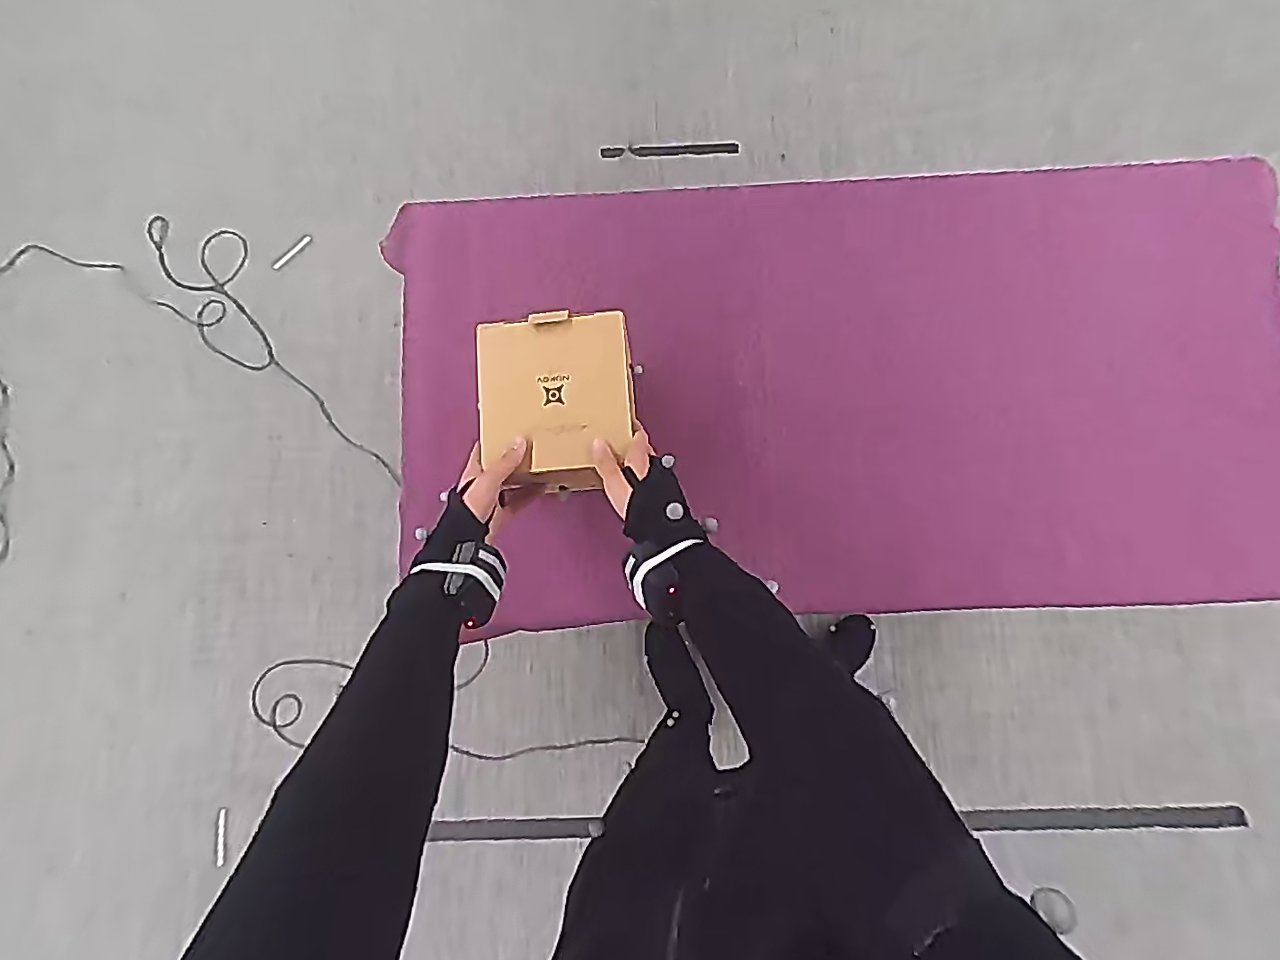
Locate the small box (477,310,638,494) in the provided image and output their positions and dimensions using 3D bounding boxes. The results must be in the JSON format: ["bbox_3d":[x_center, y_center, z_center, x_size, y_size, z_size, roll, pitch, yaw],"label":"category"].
[{"bbox_3d":[-0.091,-0.084,0.657,0.168,0.176,0.179,-4,82,2],"label":"small box"}]
